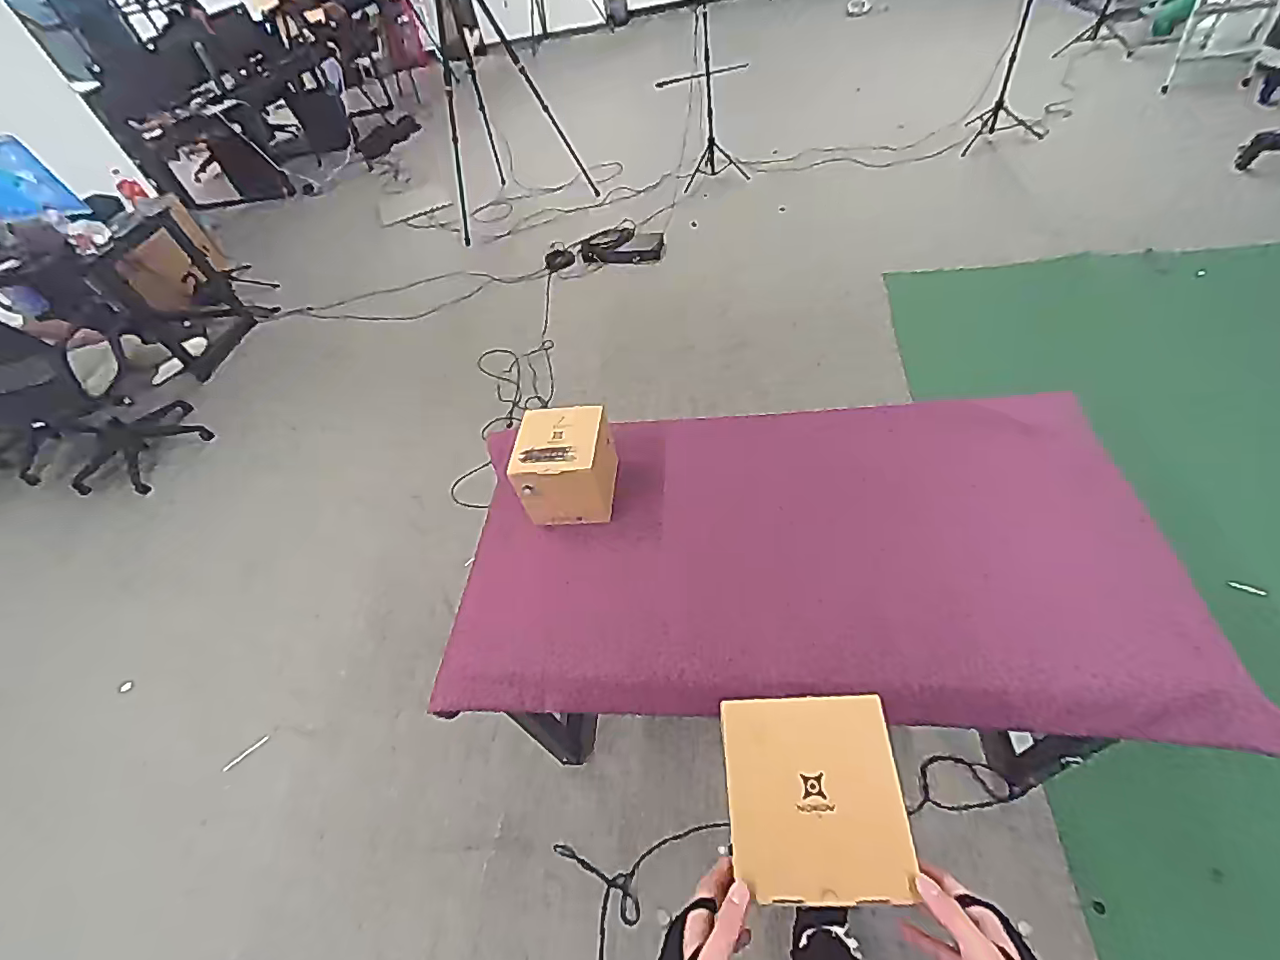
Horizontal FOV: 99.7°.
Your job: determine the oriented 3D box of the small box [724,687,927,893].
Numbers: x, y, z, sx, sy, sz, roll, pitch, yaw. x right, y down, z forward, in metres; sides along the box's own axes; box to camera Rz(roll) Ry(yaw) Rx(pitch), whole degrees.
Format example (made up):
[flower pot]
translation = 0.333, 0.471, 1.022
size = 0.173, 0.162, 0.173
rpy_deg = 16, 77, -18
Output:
[small box]
translation = 0.182, 0.338, 0.596
size = 0.168, 0.176, 0.179
rpy_deg = -4, 58, 6
